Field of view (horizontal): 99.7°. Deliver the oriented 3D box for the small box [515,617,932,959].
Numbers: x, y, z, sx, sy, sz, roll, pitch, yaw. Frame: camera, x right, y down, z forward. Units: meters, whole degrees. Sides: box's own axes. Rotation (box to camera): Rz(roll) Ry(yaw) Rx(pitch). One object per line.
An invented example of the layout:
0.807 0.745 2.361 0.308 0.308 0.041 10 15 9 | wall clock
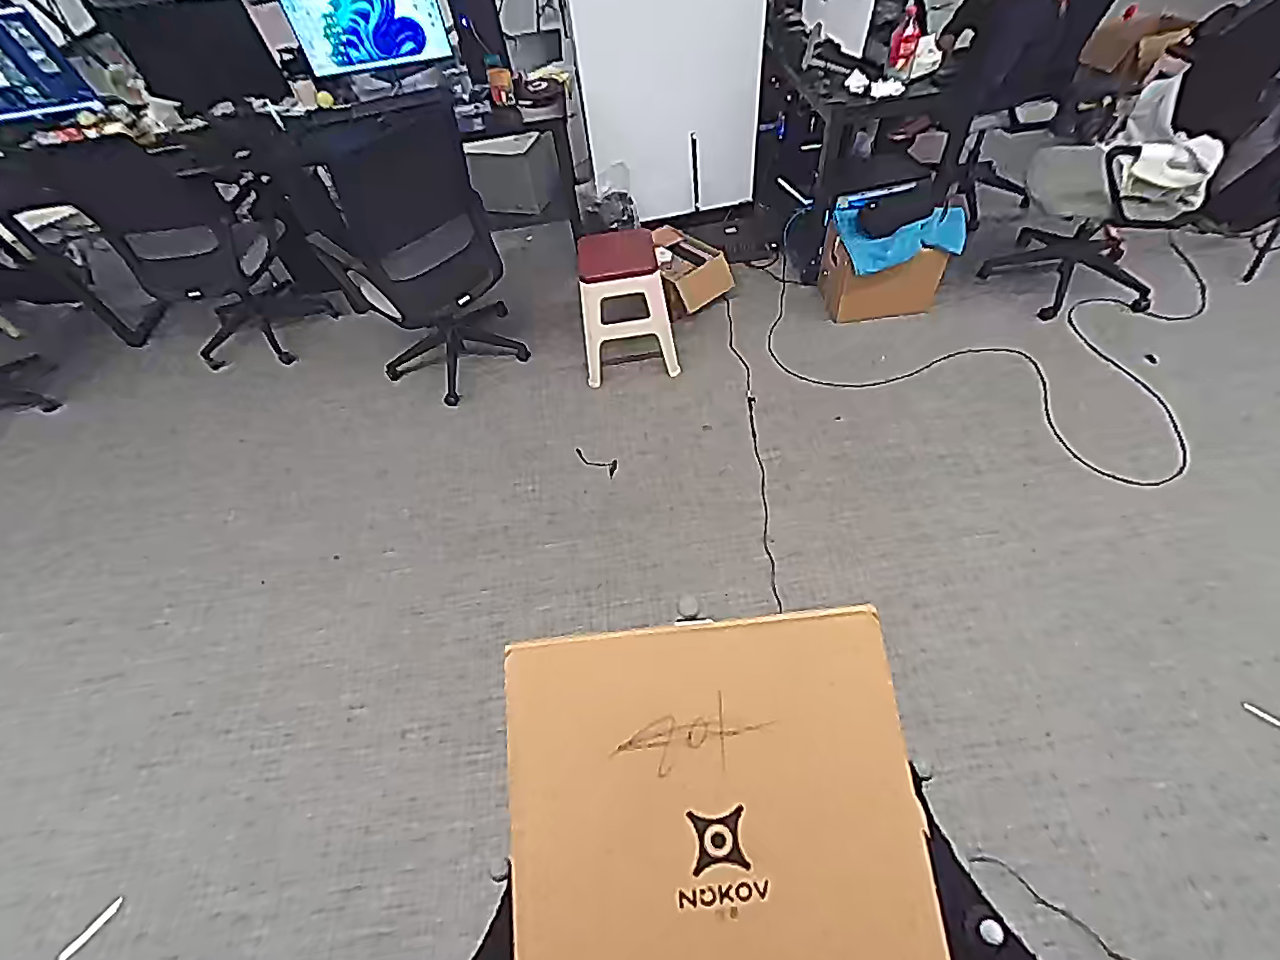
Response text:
0.031 0.173 0.303 0.168 0.176 0.179 -5 75 -3 | small box
